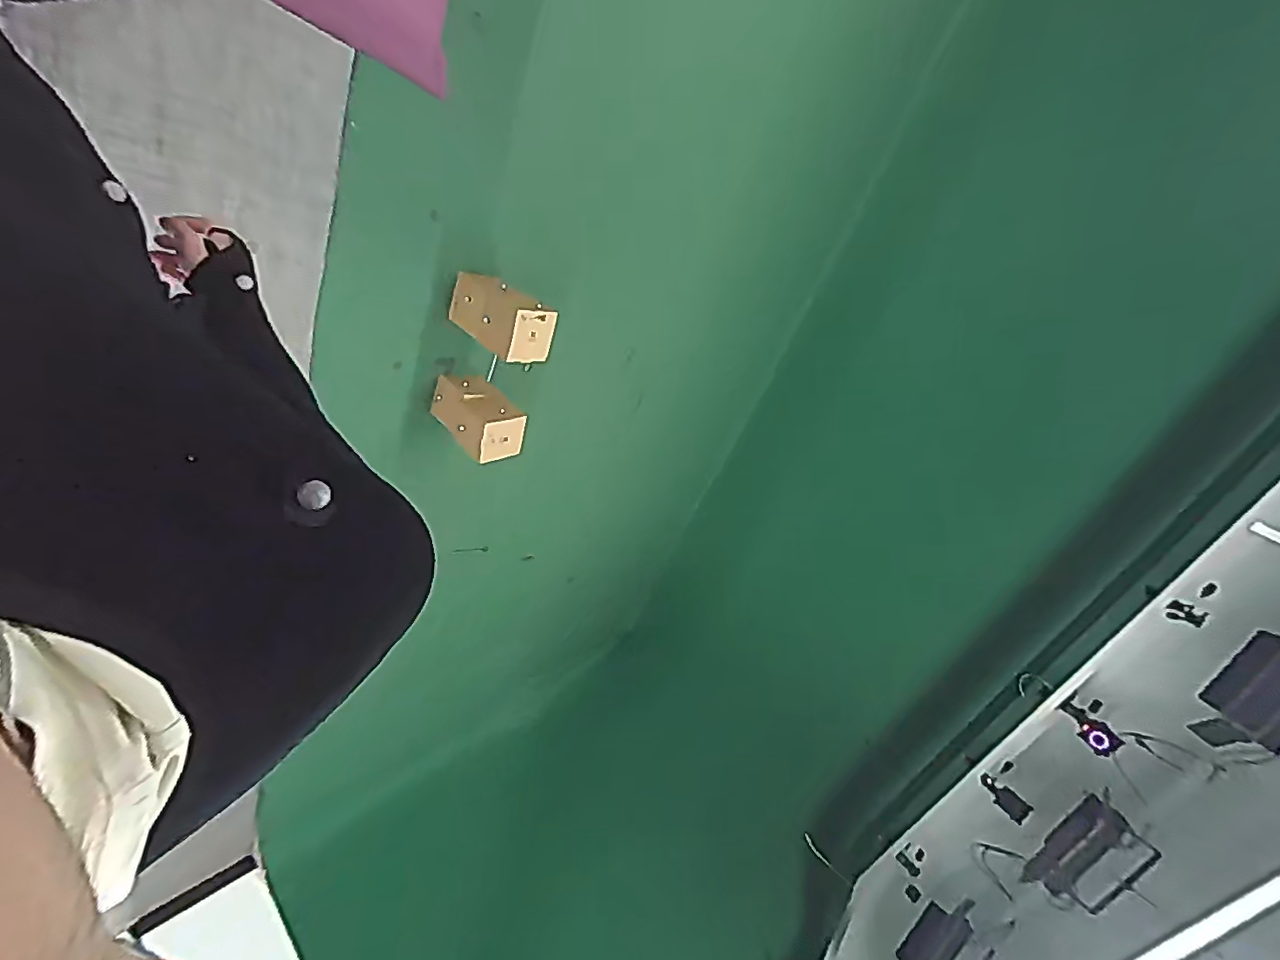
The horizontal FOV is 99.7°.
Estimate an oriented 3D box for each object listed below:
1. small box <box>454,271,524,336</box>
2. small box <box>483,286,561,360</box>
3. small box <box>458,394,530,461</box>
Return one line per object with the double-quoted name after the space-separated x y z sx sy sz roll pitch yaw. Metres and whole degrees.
-0.505 -0.594 1.836 0.179 0.176 0.168 -14 134 -51 "small box"
-0.389 -0.507 1.759 0.168 0.176 0.179 -16 137 -49 "small box"
-0.523 -0.195 1.933 0.179 0.176 0.168 -20 139 -44 "small box"
